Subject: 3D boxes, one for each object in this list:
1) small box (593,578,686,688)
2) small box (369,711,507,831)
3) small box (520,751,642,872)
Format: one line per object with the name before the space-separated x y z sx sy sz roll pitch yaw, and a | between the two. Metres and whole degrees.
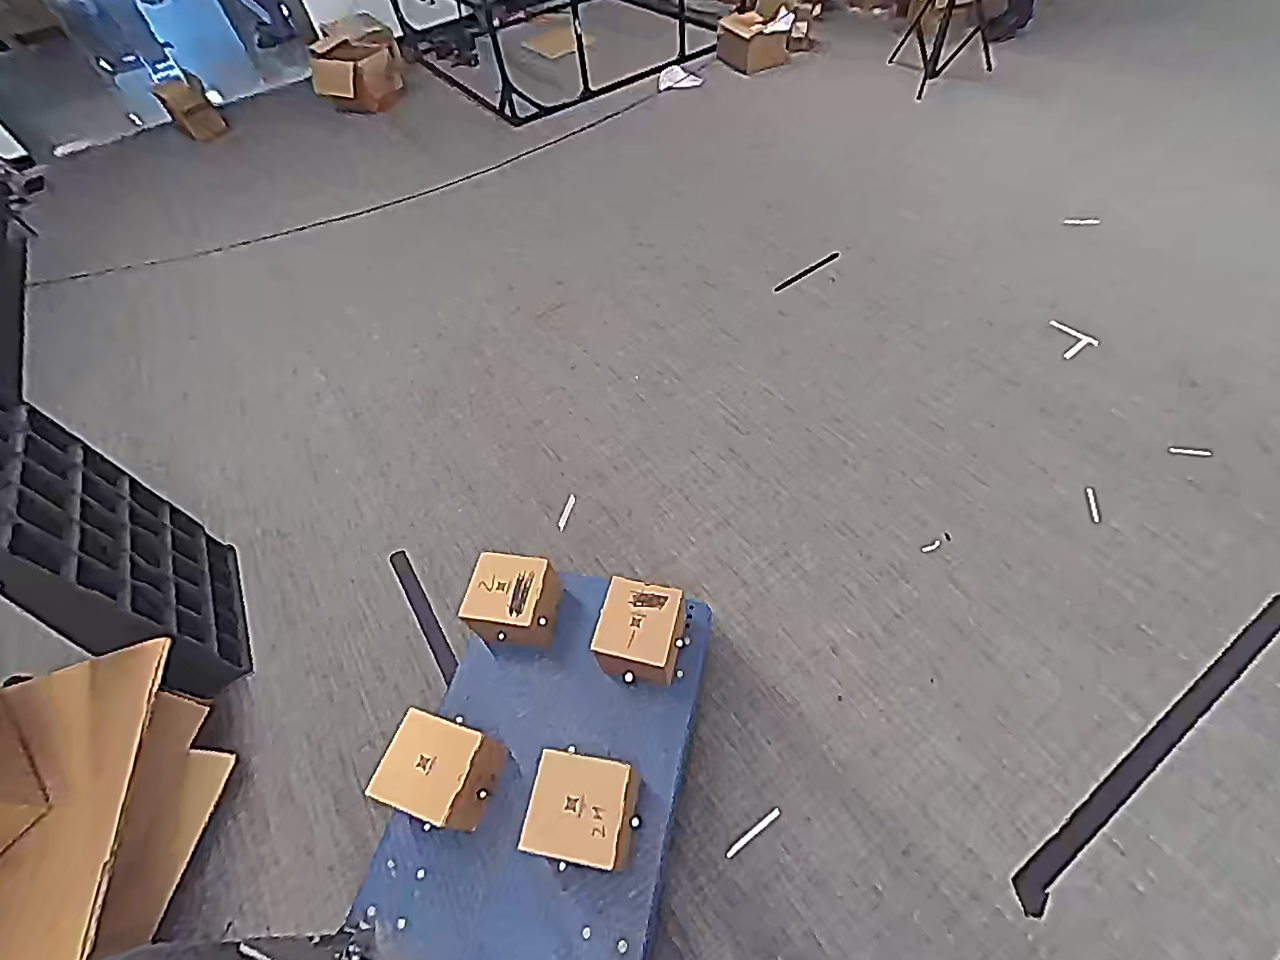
small box | 0.007 0.349 1.227 0.168 0.176 0.179 9 58 14
small box | -0.401 0.598 1.105 0.179 0.176 0.168 12 57 14
small box | -0.102 0.637 1.036 0.179 0.176 0.168 5 56 11
